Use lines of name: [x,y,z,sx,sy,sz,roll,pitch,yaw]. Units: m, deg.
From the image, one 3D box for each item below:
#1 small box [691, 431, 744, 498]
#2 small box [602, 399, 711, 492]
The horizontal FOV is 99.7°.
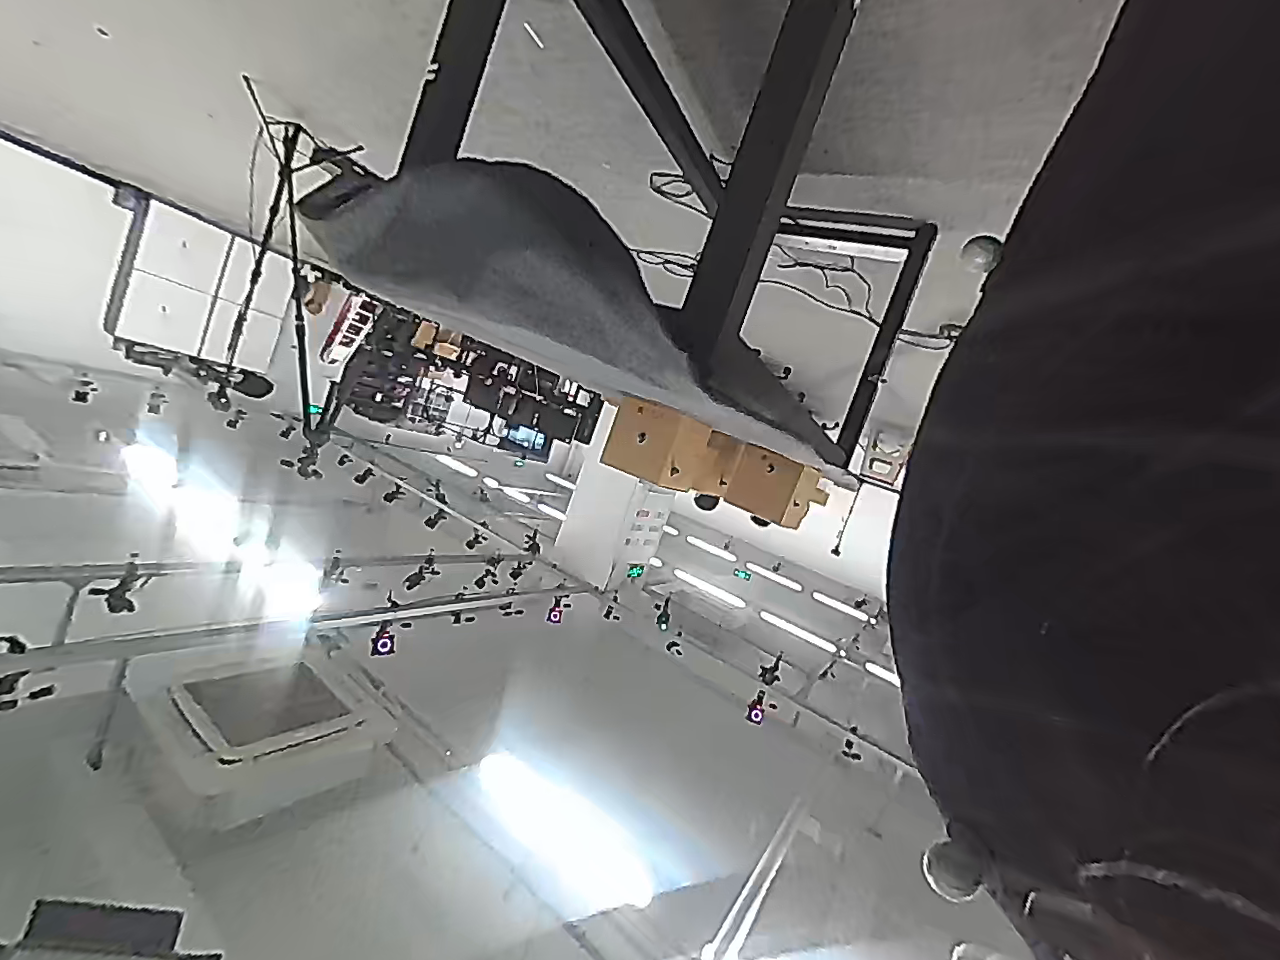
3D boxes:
small box: [0.173,-0.060,1.526,0.168,0.176,0.179,21,-175,30]
small box: [0.043,-0.082,1.271,0.168,0.176,0.179,22,-175,29]
